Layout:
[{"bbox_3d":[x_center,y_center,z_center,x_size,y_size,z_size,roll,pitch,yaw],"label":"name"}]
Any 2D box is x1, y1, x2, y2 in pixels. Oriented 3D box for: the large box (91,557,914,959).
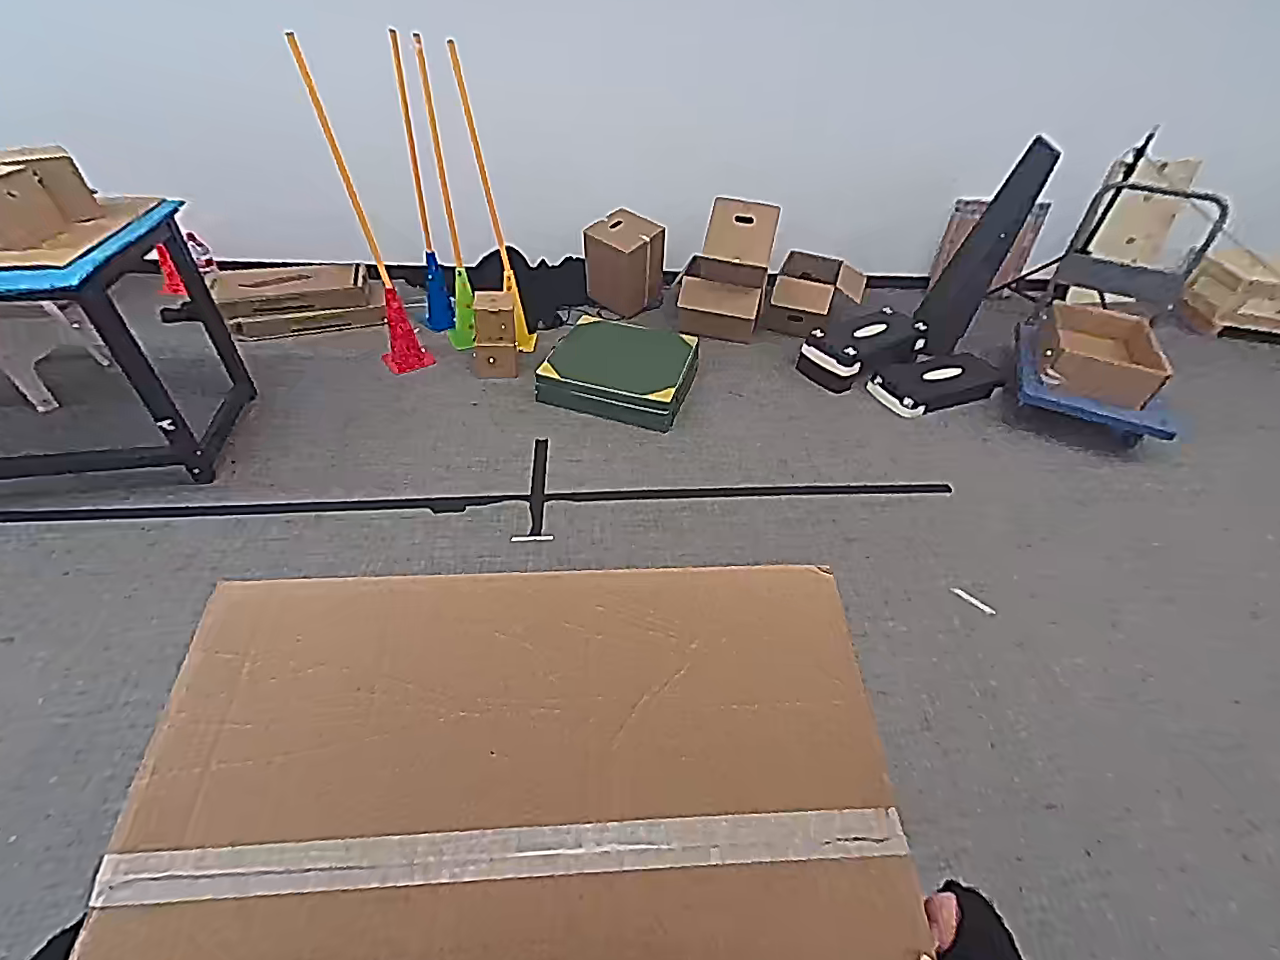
[{"bbox_3d":[-0.071,0.271,0.416,0.408,0.320,0.320,-1,57,-3],"label":"large box"}]
